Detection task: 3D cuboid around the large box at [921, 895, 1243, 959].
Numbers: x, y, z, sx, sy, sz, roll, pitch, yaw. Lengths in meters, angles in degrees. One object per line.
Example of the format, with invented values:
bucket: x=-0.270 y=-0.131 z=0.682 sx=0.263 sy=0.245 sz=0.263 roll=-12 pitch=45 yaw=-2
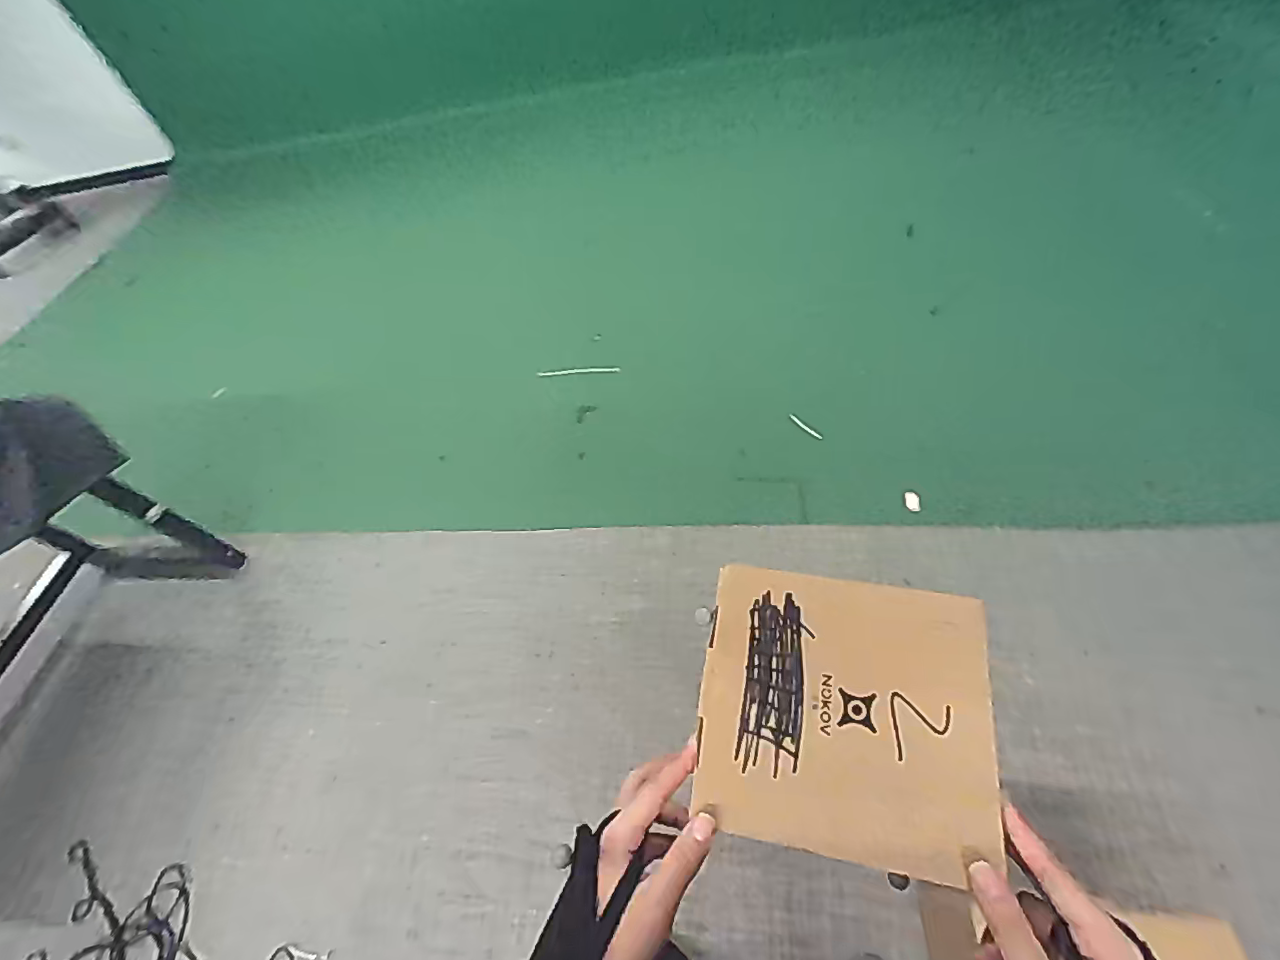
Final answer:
large box: x=0.627 y=0.829 z=0.733 sx=0.320 sy=0.320 sz=0.408 roll=-4 pitch=56 yaw=11
